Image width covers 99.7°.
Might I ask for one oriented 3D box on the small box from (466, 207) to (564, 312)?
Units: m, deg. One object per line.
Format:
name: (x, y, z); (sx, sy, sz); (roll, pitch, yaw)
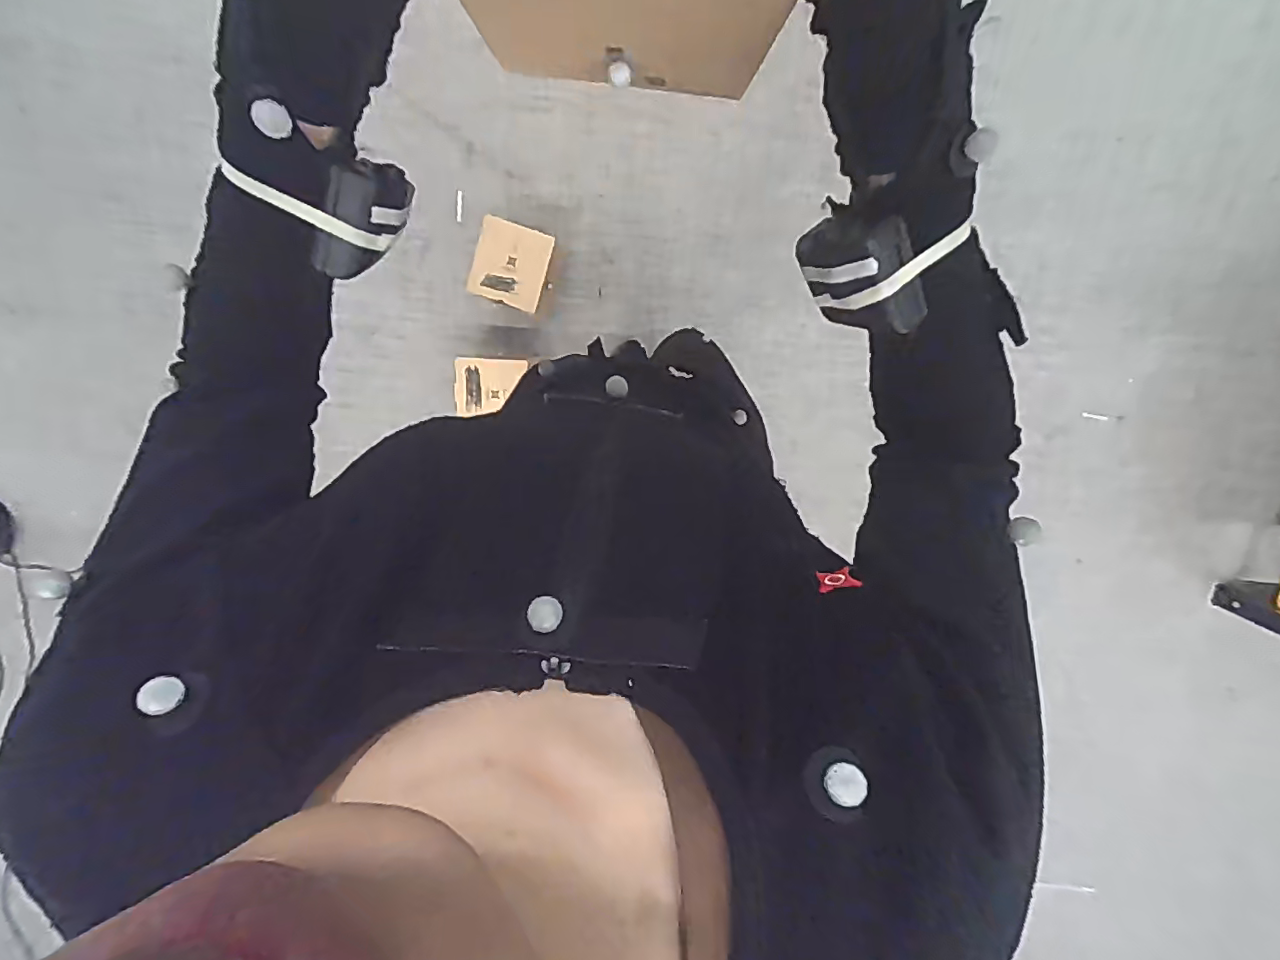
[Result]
small box: (-0.288, -0.510, 1.283); (0.168, 0.176, 0.179); (19, 102, -3)
